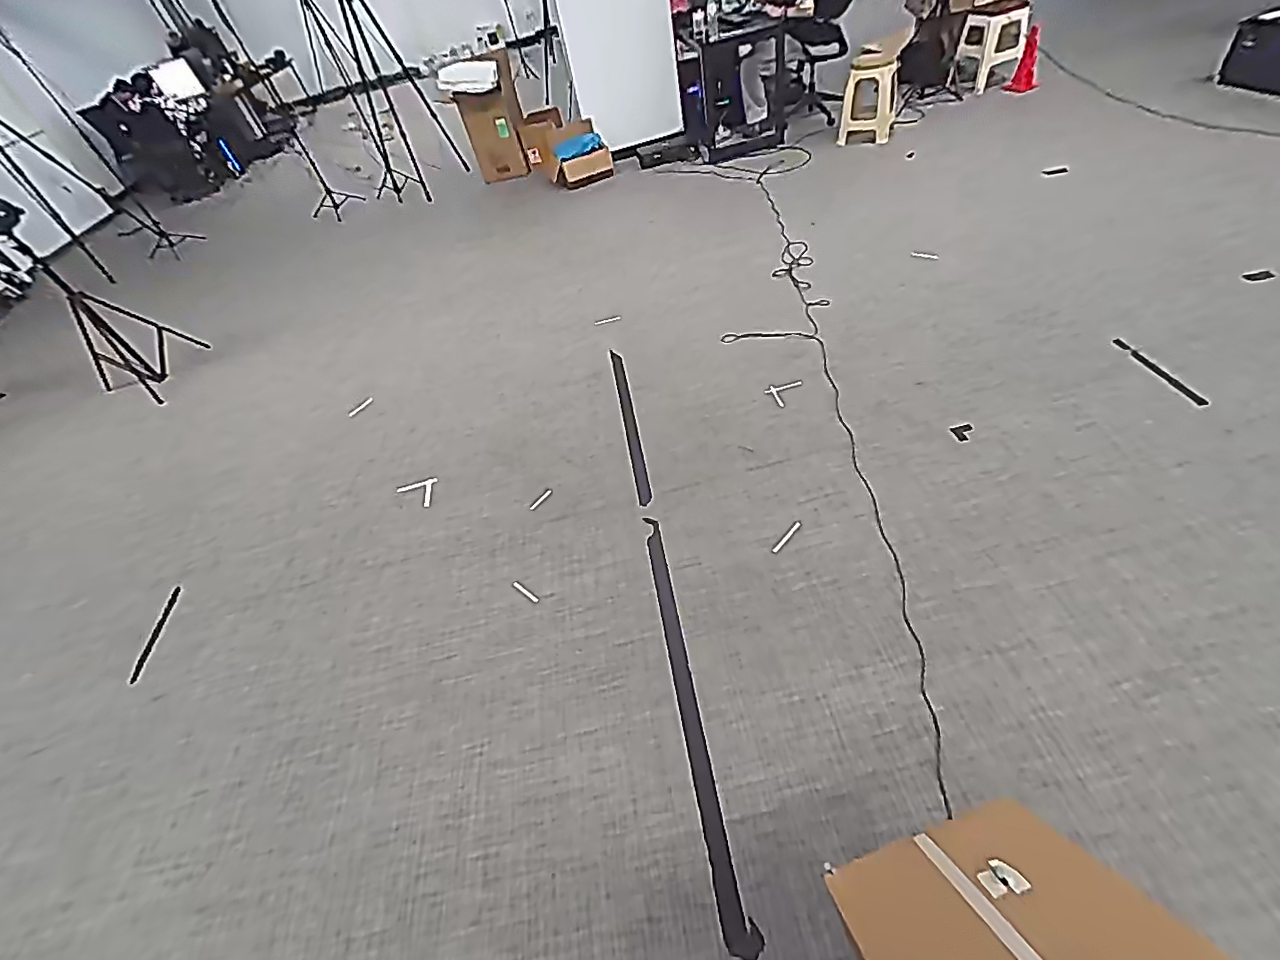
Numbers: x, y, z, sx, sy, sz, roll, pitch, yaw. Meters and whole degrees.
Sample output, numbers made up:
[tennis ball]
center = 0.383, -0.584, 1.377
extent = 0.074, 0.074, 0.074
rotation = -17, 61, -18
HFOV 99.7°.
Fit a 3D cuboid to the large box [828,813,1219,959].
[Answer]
[large box]
center = 0.477, 0.675, 0.607
extent = 0.320, 0.408, 0.320
rotation = -19, 83, -2
